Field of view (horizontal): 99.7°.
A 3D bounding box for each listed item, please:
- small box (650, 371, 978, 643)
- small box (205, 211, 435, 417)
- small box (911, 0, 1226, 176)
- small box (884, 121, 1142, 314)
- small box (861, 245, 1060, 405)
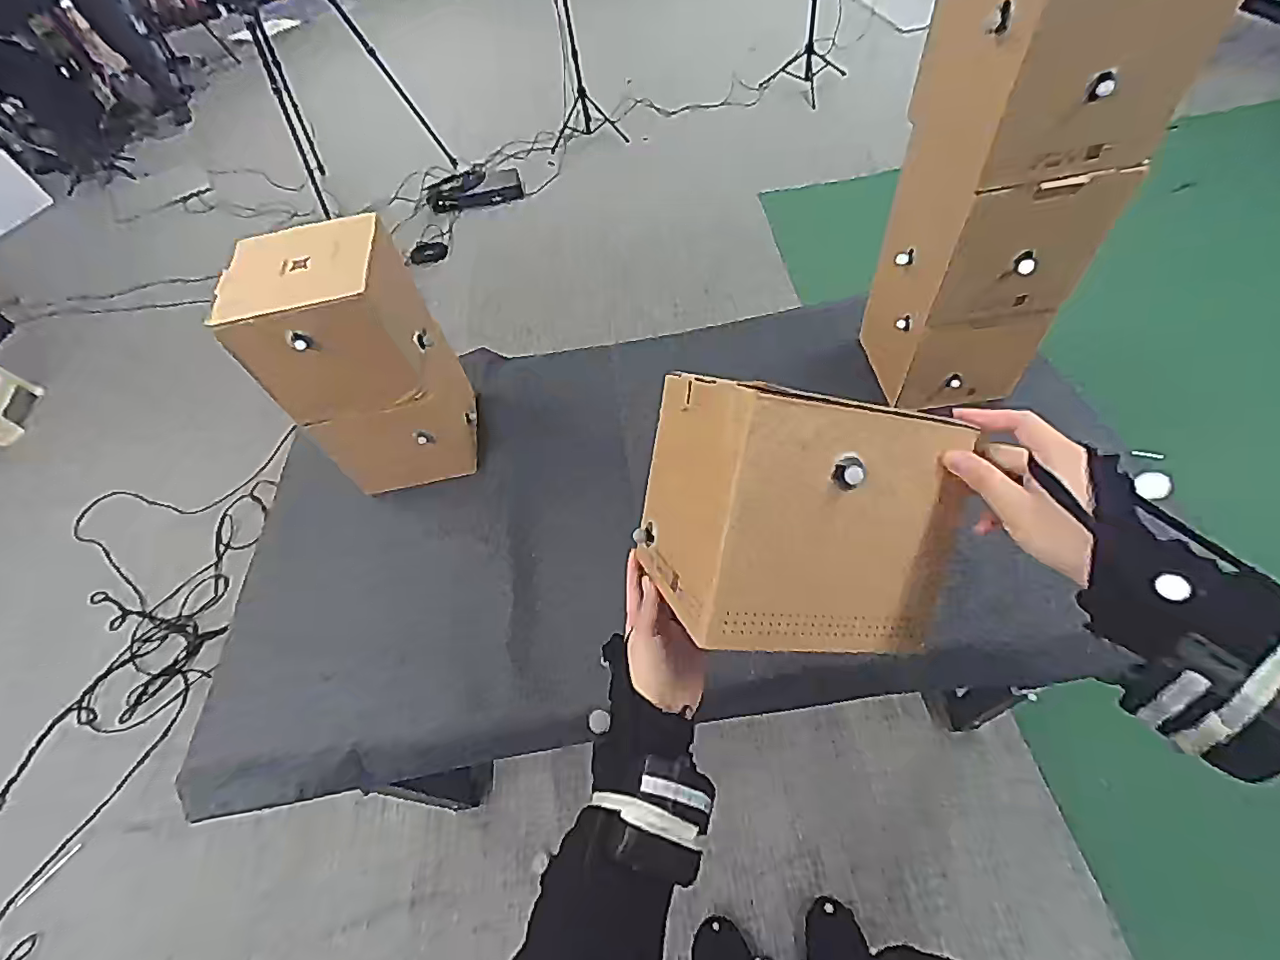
[{"bbox_3d":[0.113,0.014,0.424,0.179,0.176,0.168,6,12,-16],"label":"small box"},{"bbox_3d":[-0.379,-0.200,0.679,0.179,0.176,0.168,-12,56,-2],"label":"small box"},{"bbox_3d":[0.386,-0.407,0.506,0.168,0.176,0.179,-9,55,2],"label":"small box"},{"bbox_3d":[0.414,-0.316,0.641,0.168,0.176,0.179,-7,56,4],"label":"small box"},{"bbox_3d":[0.436,-0.228,0.777,0.168,0.176,0.179,-8,55,3],"label":"small box"}]
